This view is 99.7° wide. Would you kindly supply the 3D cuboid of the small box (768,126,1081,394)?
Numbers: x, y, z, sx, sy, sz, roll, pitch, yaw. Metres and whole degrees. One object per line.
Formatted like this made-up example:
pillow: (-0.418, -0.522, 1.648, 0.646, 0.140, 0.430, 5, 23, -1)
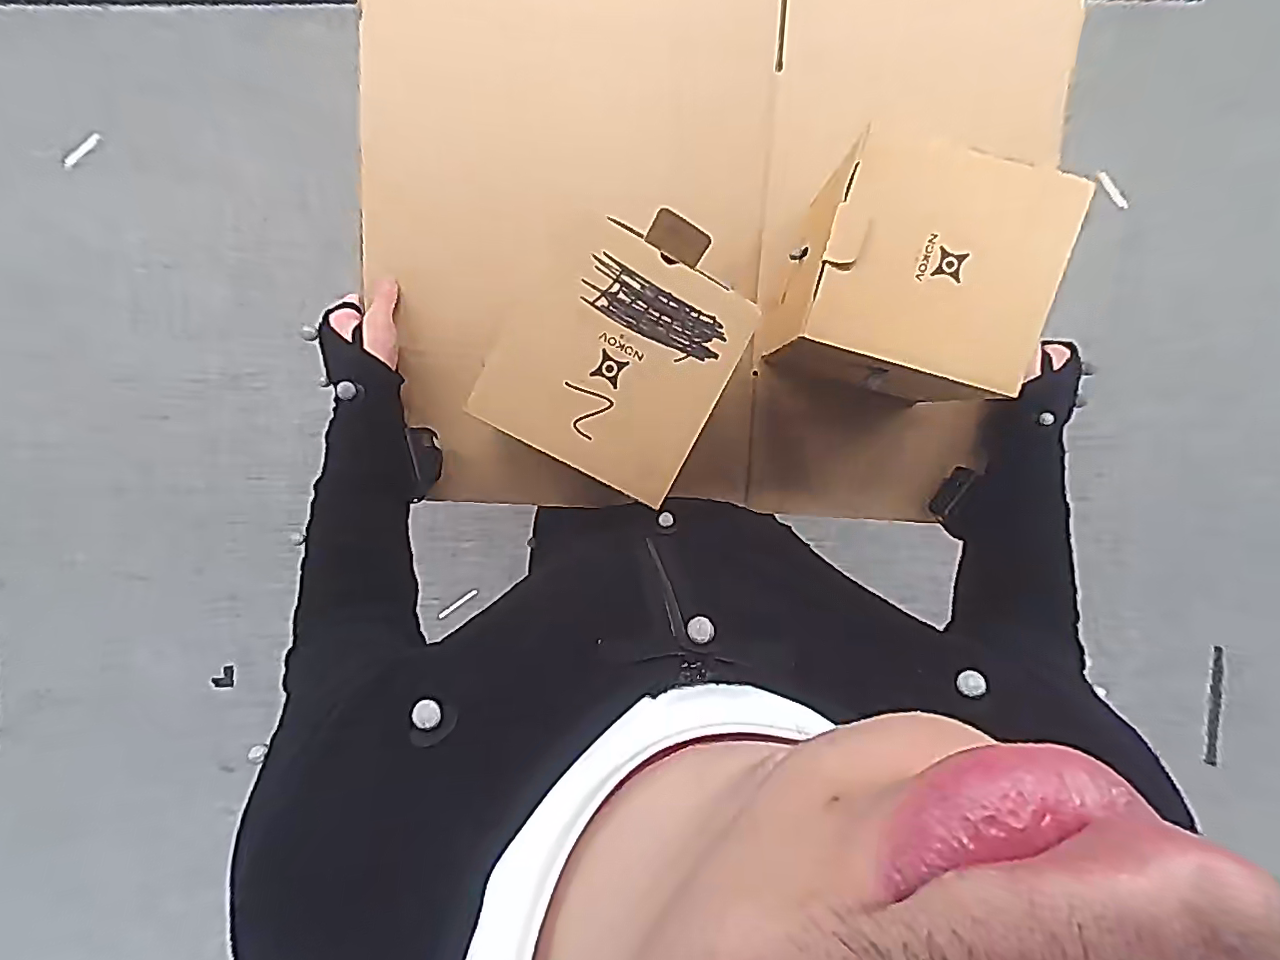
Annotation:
small box: (0.237, -0.182, 0.503, 0.179, 0.176, 0.168, 16, 98, 1)
